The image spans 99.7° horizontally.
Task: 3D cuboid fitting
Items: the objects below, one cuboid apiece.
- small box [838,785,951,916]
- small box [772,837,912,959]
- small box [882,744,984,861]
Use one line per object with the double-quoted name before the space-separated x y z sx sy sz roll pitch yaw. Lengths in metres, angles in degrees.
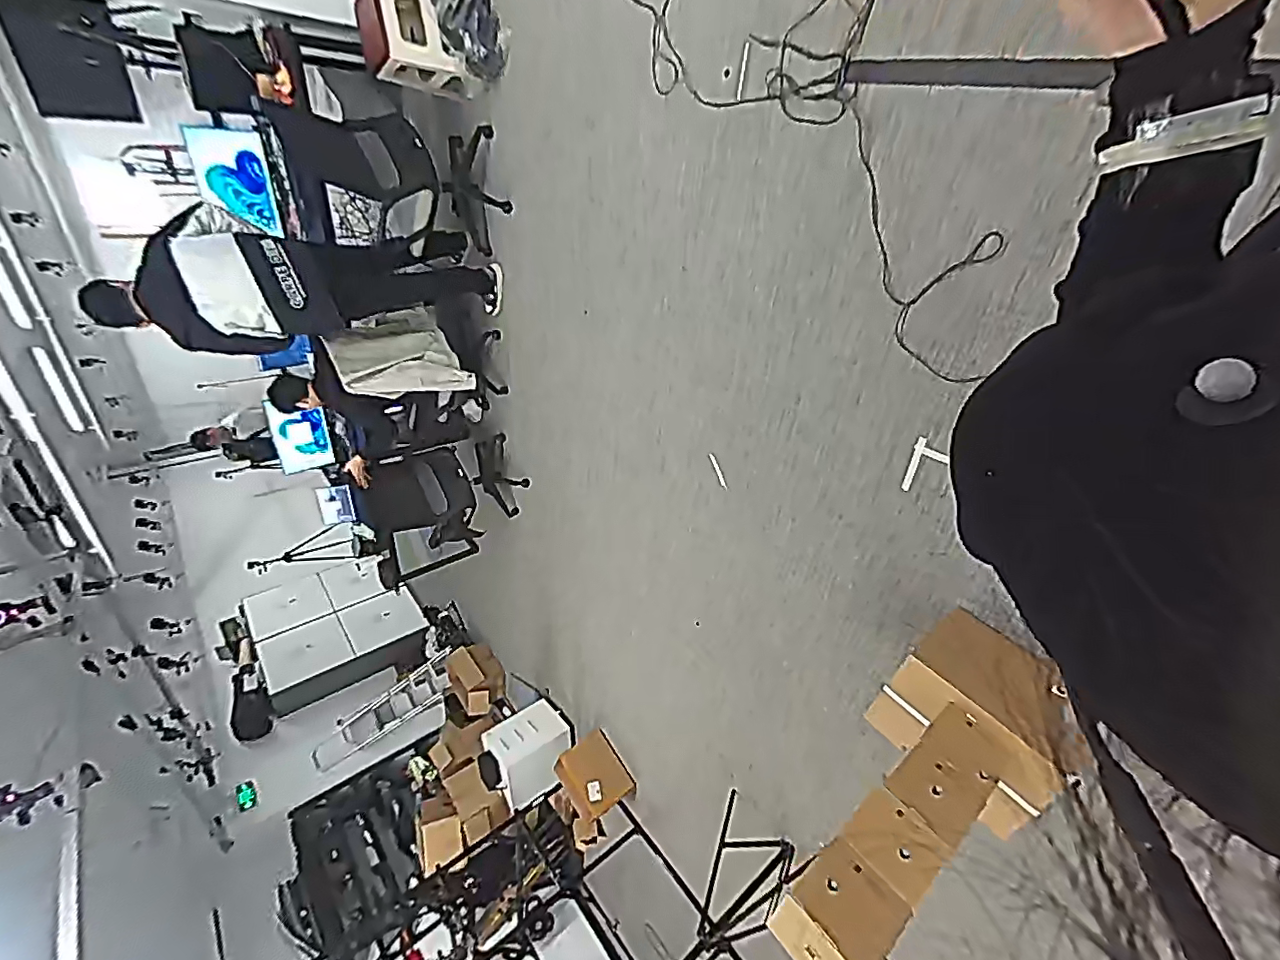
"small box" 0.509 0.781 1.122 0.168 0.176 0.179 38 135 36
"small box" 0.385 0.833 1.031 0.168 0.176 0.179 39 137 37
"small box" 0.635 0.738 1.215 0.168 0.176 0.179 40 135 35
